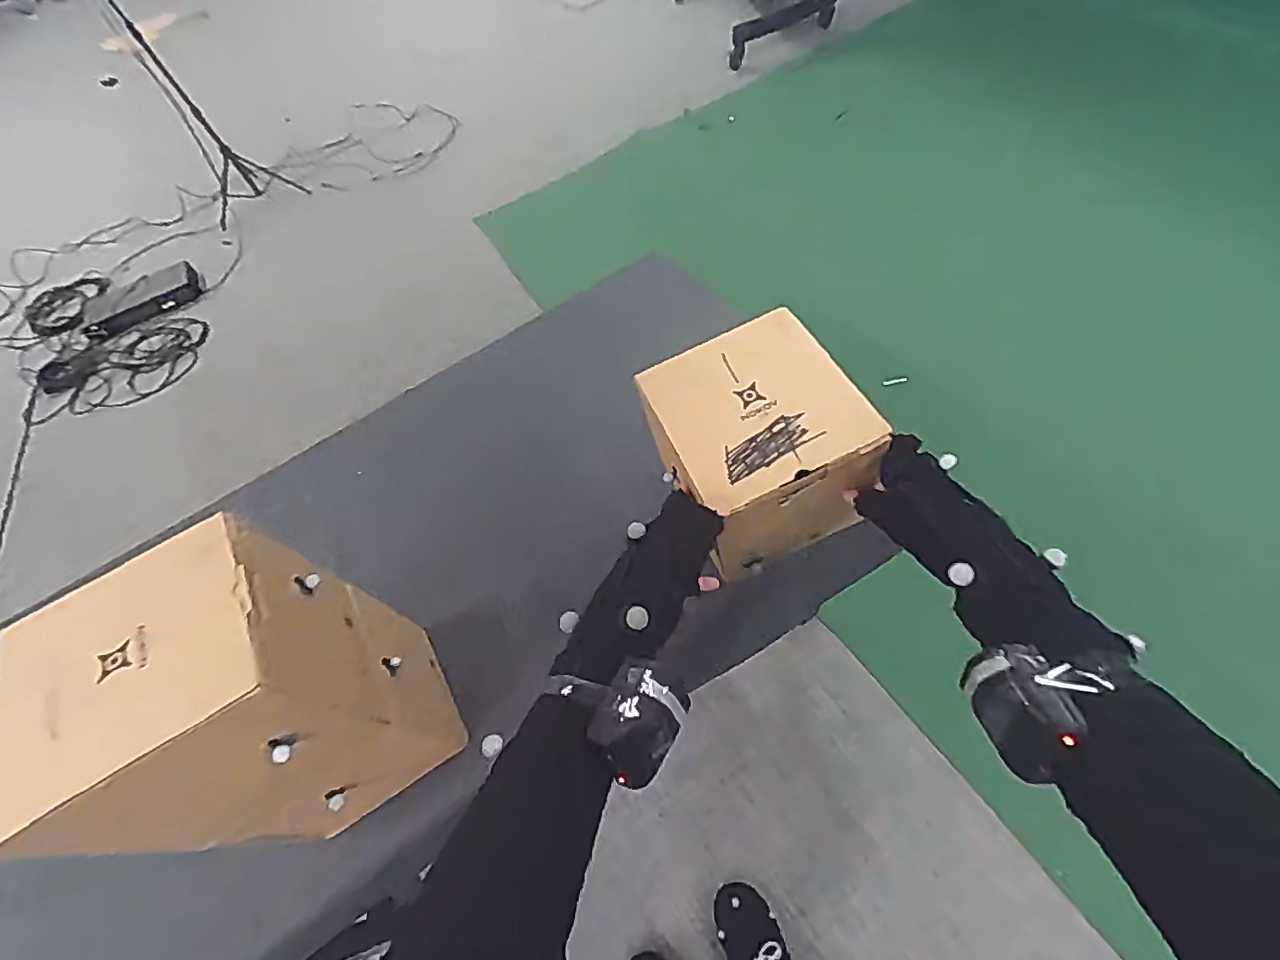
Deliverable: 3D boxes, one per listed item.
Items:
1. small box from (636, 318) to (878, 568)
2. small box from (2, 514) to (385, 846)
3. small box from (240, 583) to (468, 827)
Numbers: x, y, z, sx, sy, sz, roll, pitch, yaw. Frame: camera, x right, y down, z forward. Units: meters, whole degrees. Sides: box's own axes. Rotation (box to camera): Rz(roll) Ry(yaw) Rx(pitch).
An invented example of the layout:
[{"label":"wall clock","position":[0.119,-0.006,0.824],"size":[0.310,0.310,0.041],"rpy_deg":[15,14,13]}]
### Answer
[{"label":"small box","position":[0.117,-0.026,0.566],"size":[0.168,0.176,0.179],"rpy_deg":[-25,58,-1]},{"label":"small box","position":[-0.342,0.166,0.450],"size":[0.179,0.176,0.168],"rpy_deg":[-33,57,-10]},{"label":"small box","position":[-0.321,0.250,0.588],"size":[0.179,0.176,0.168],"rpy_deg":[-32,58,-10]}]
